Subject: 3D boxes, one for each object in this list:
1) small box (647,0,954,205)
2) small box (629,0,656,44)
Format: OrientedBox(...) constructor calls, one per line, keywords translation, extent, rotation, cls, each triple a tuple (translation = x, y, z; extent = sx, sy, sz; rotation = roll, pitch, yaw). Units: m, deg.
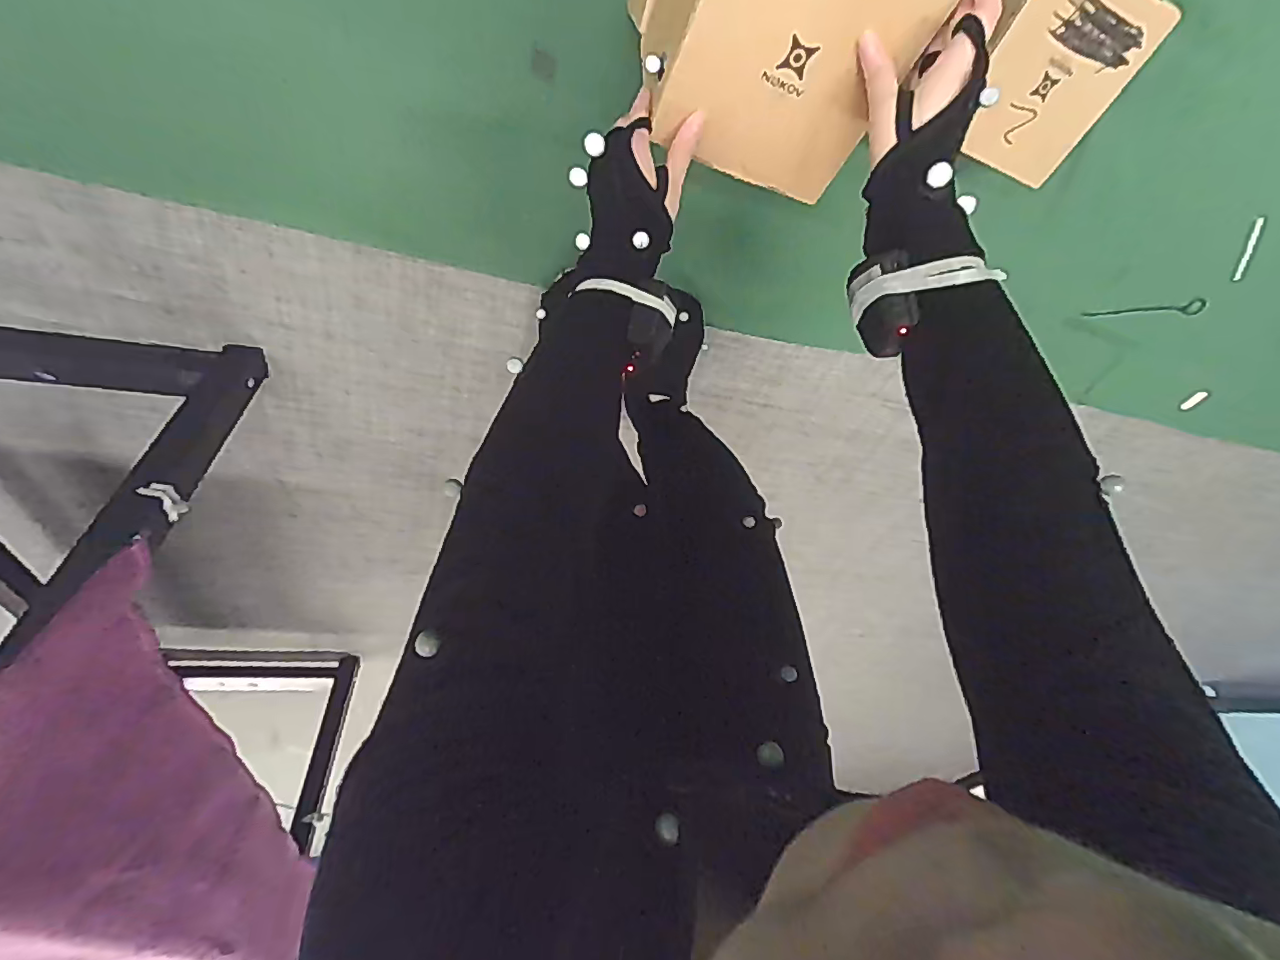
OrientedBox(translation=(0.108, -0.372, 0.434), extent=(0.168, 0.176, 0.179), rotation=(10, 149, -18), cls="small box")
OrientedBox(translation=(0.097, -0.518, 0.538), extent=(0.179, 0.176, 0.168), rotation=(10, 134, -16), cls="small box")
